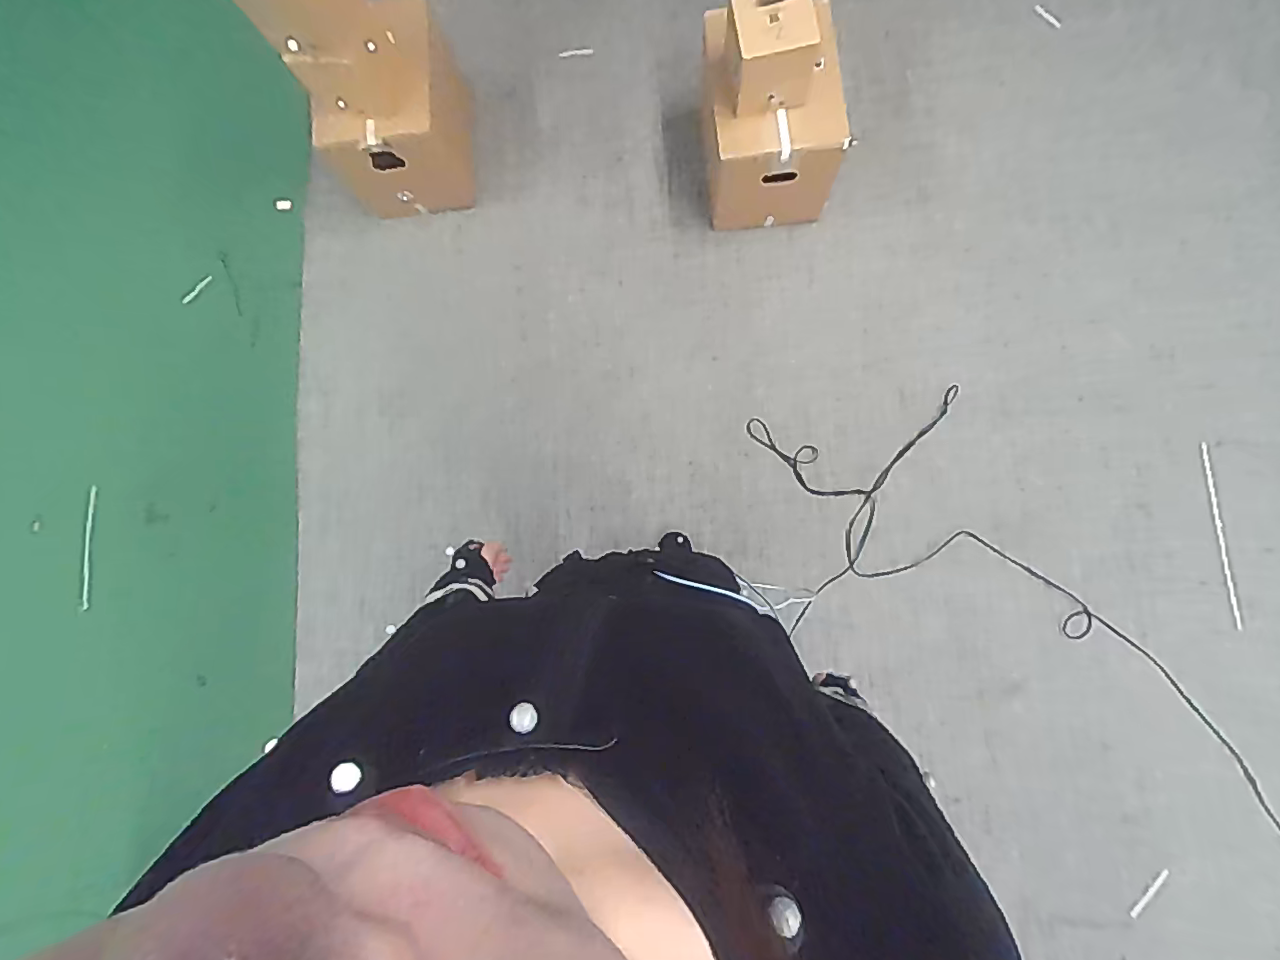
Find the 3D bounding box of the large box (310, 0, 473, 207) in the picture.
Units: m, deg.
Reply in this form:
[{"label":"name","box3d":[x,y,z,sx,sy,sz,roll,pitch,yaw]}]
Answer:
[{"label":"large box","box3d":[-0.681,-1.059,1.521,0.320,0.320,0.408,-5,83,3]}]
